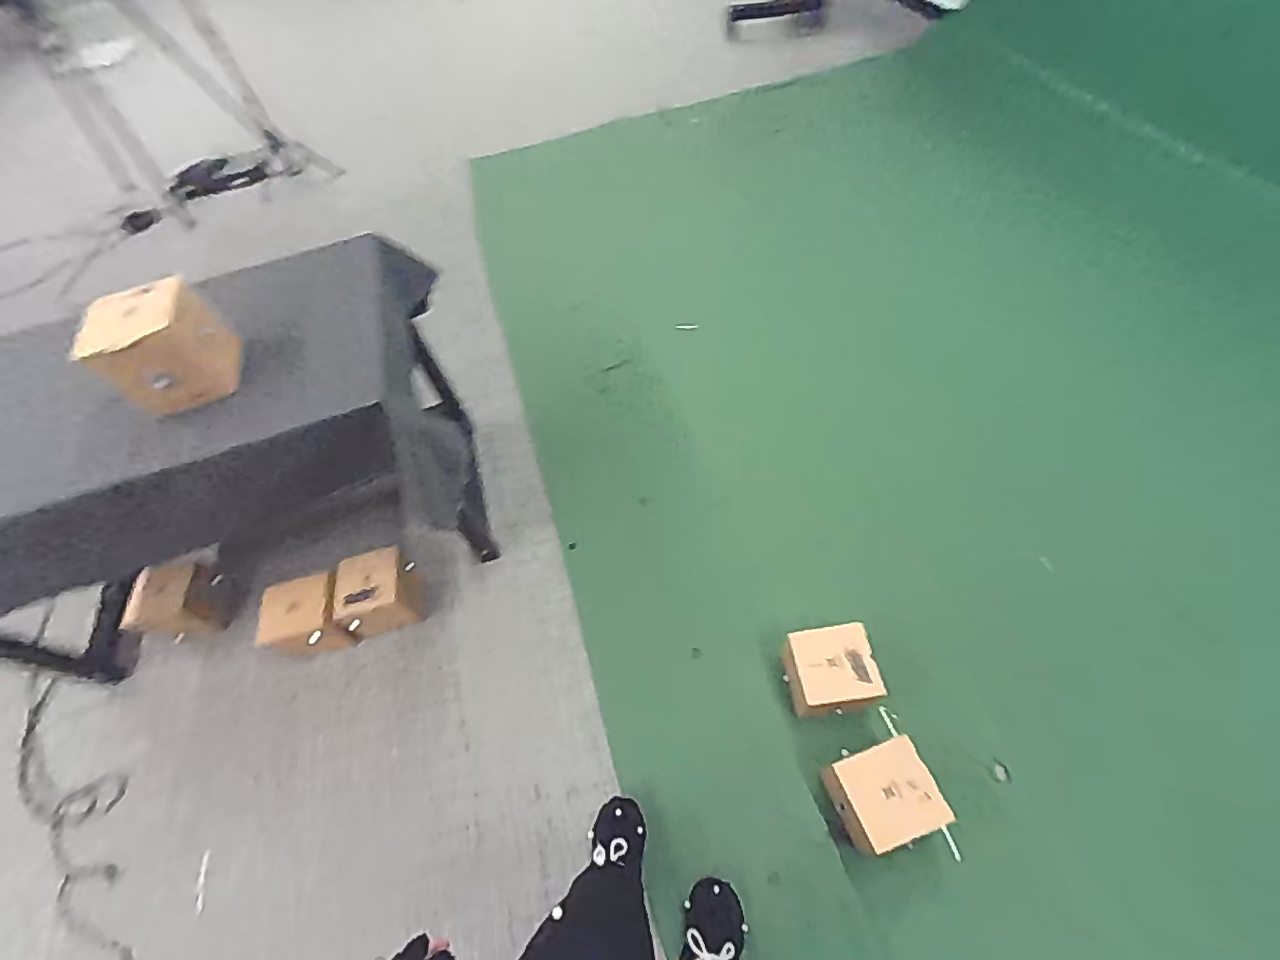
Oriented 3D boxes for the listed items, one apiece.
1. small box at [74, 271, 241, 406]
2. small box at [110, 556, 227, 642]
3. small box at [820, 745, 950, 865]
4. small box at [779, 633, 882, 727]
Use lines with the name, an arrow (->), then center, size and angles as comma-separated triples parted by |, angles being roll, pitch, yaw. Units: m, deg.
small box -> -0.913, -0.264, 1.044 | 0.168, 0.176, 0.179 | -19, 57, -7
small box -> -1.343, 0.345, 1.558 | 0.168, 0.176, 0.179 | -11, 55, 0
small box -> 0.496, 0.681, 1.132 | 0.179, 0.176, 0.168 | -18, 57, -7
small box -> 0.440, 0.476, 1.279 | 0.179, 0.176, 0.168 | -9, 55, 2
